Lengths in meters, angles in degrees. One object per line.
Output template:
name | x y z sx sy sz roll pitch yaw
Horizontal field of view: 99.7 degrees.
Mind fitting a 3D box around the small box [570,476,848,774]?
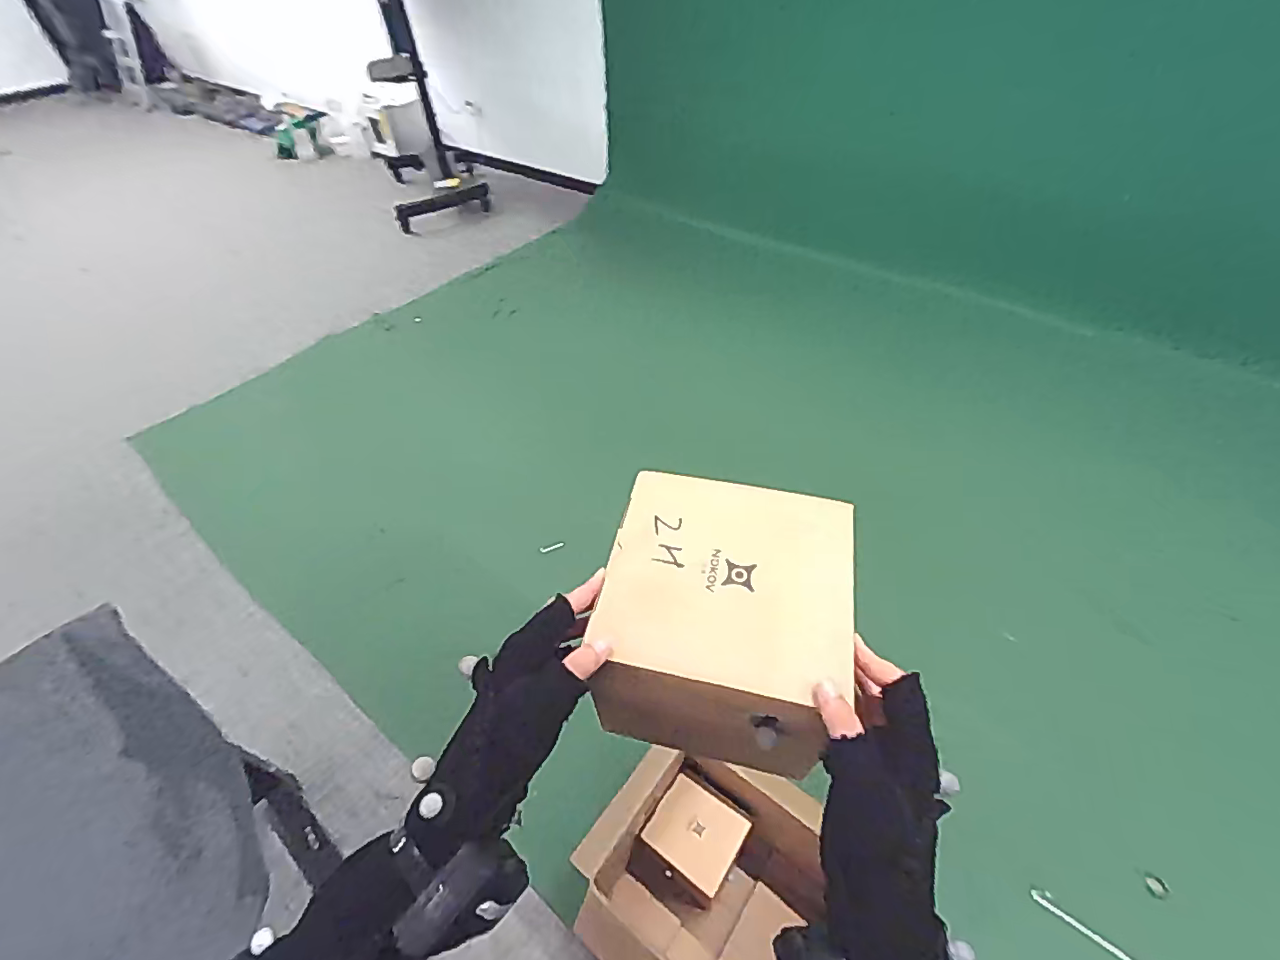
small box | 0.061 0.122 0.445 0.179 0.176 0.168 8 50 11
